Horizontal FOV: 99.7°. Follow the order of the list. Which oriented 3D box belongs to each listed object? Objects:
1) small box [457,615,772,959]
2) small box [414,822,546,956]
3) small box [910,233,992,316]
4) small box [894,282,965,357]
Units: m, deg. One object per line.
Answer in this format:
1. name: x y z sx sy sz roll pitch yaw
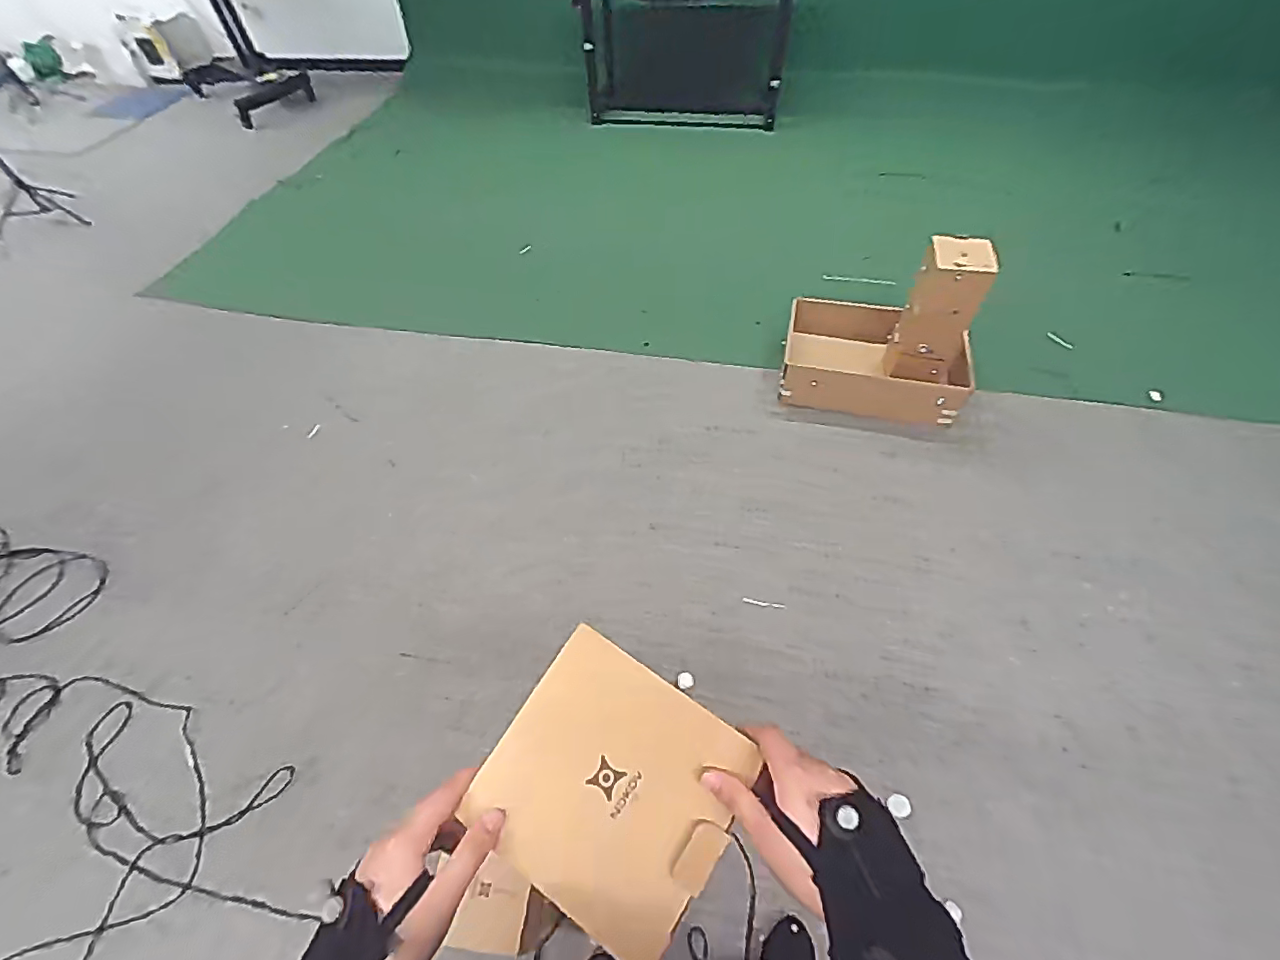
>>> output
1. small box: -0.016 0.244 0.468 0.179 0.176 0.168 32 74 13
2. small box: -0.273 0.740 0.985 0.179 0.176 0.168 5 54 6
3. small box: 0.951 -0.637 1.673 0.168 0.176 0.179 8 54 10
4. small box: 0.960 -0.542 1.807 0.168 0.176 0.179 10 57 12
